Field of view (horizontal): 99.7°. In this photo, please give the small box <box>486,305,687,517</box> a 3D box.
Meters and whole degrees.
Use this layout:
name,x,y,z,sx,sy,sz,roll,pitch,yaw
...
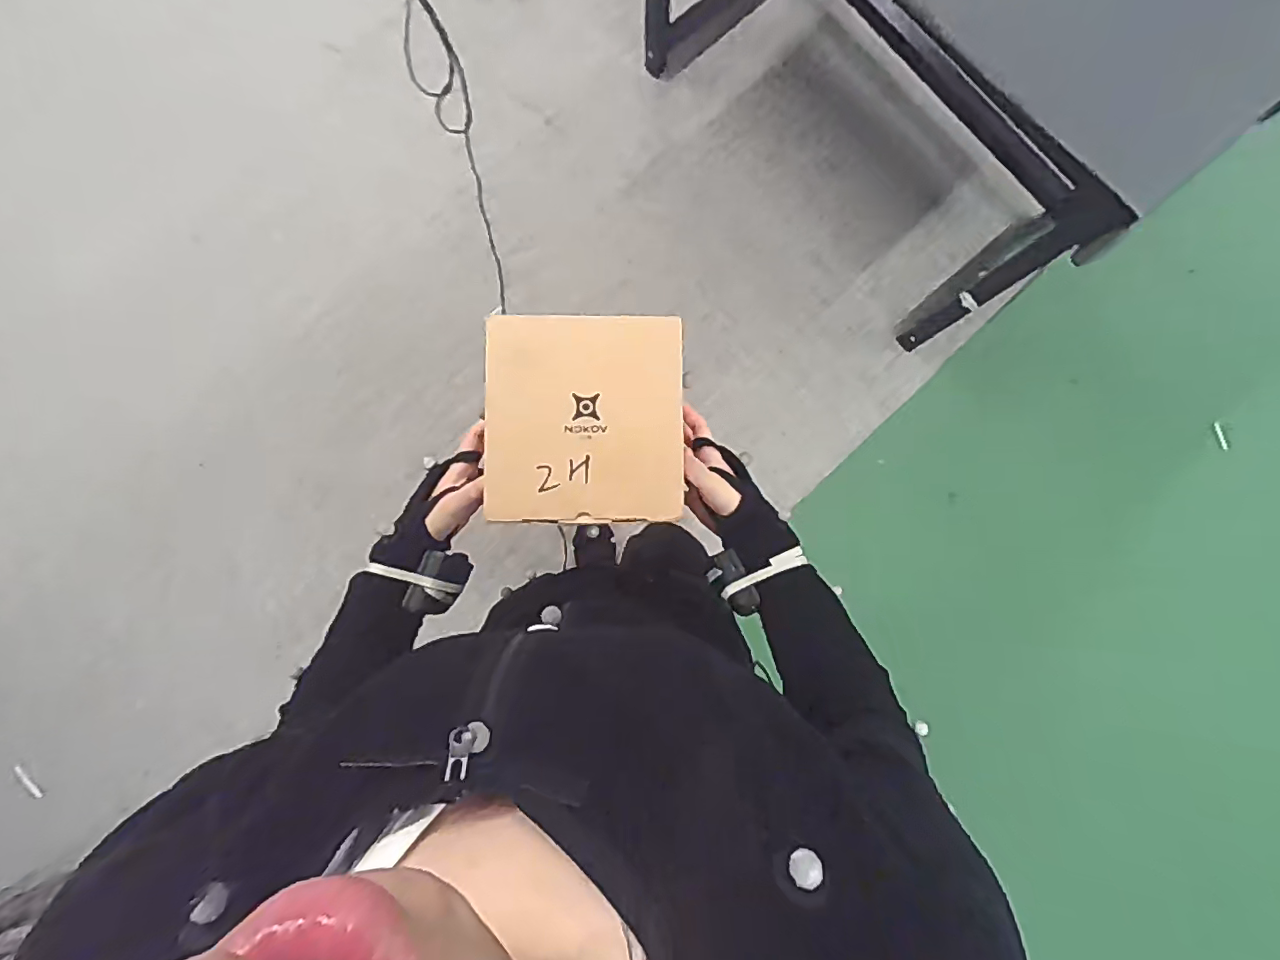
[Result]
name,x,y,z,sx,sy,sz,roll,pitch,yaw
small box,-0.047,-0.053,0.532,0.168,0.176,0.179,1,87,-2
